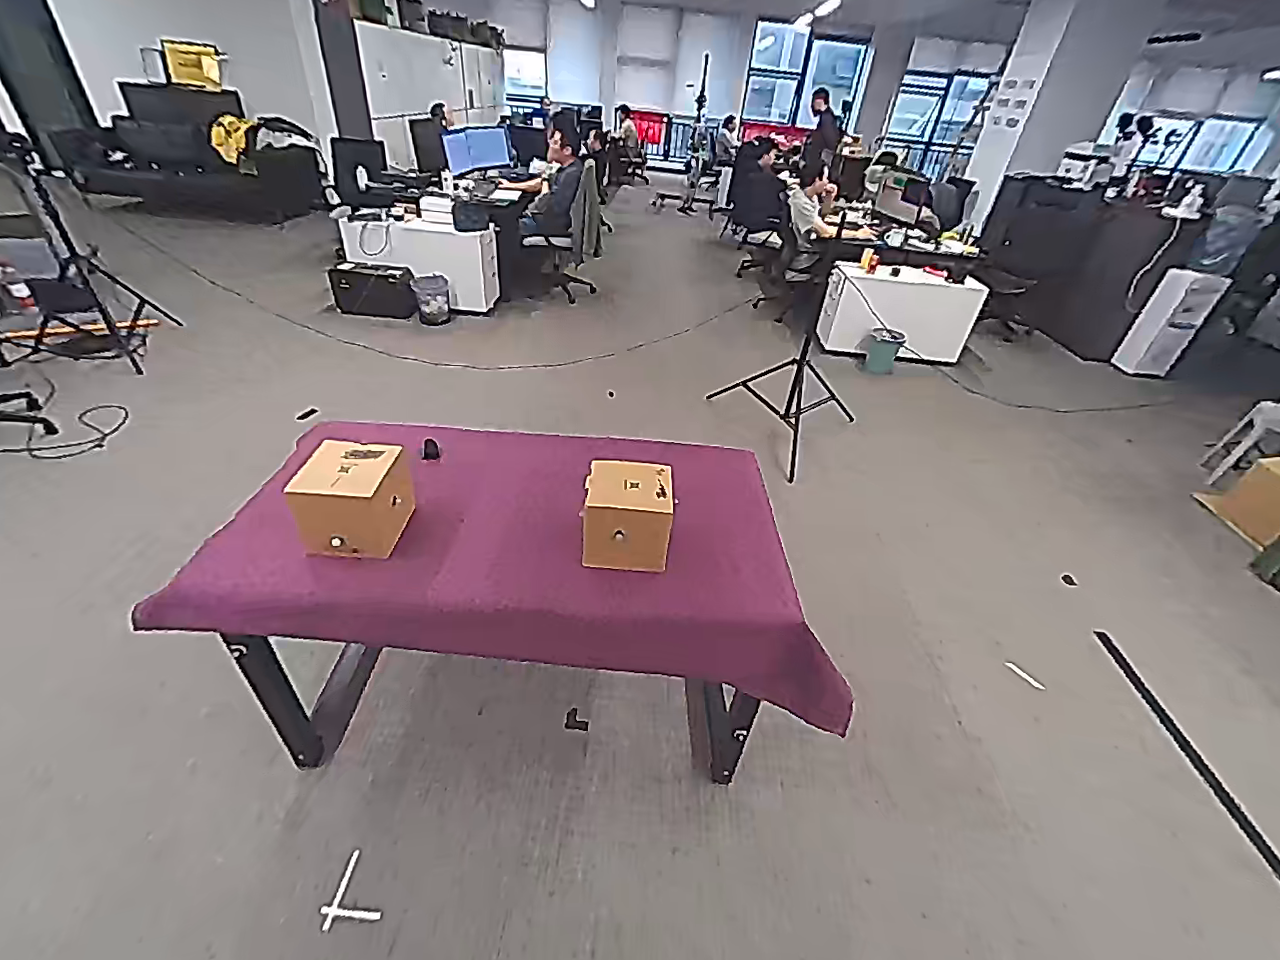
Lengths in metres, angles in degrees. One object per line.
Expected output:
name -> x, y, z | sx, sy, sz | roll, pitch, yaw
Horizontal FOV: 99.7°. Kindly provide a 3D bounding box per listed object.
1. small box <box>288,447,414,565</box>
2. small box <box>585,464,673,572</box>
small box -> -0.588, 0.053, 1.130 | 0.168, 0.176, 0.179 | 4, 36, -3
small box -> -0.024, 0.083, 1.166 | 0.179, 0.176, 0.168 | 3, 36, -1
